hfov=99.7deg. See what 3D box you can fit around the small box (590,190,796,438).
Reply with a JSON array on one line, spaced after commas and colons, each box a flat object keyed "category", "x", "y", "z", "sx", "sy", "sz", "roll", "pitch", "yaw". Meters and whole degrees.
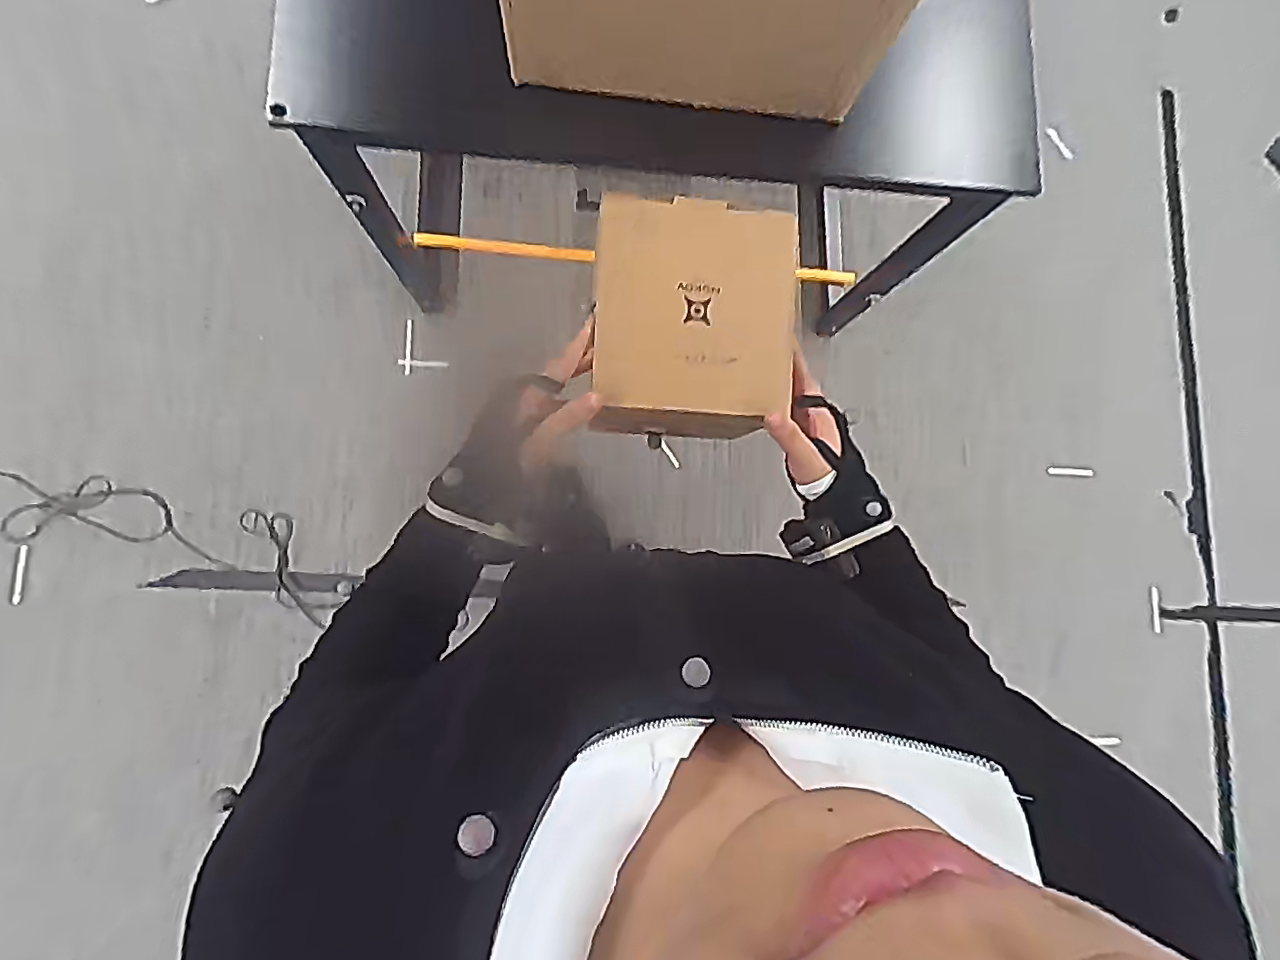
[{"category": "small box", "x": 0.039, "y": -0.143, "z": 0.524, "sx": 0.168, "sy": 0.176, "sz": 0.179, "roll": 3, "pitch": 87, "yaw": -6}]
